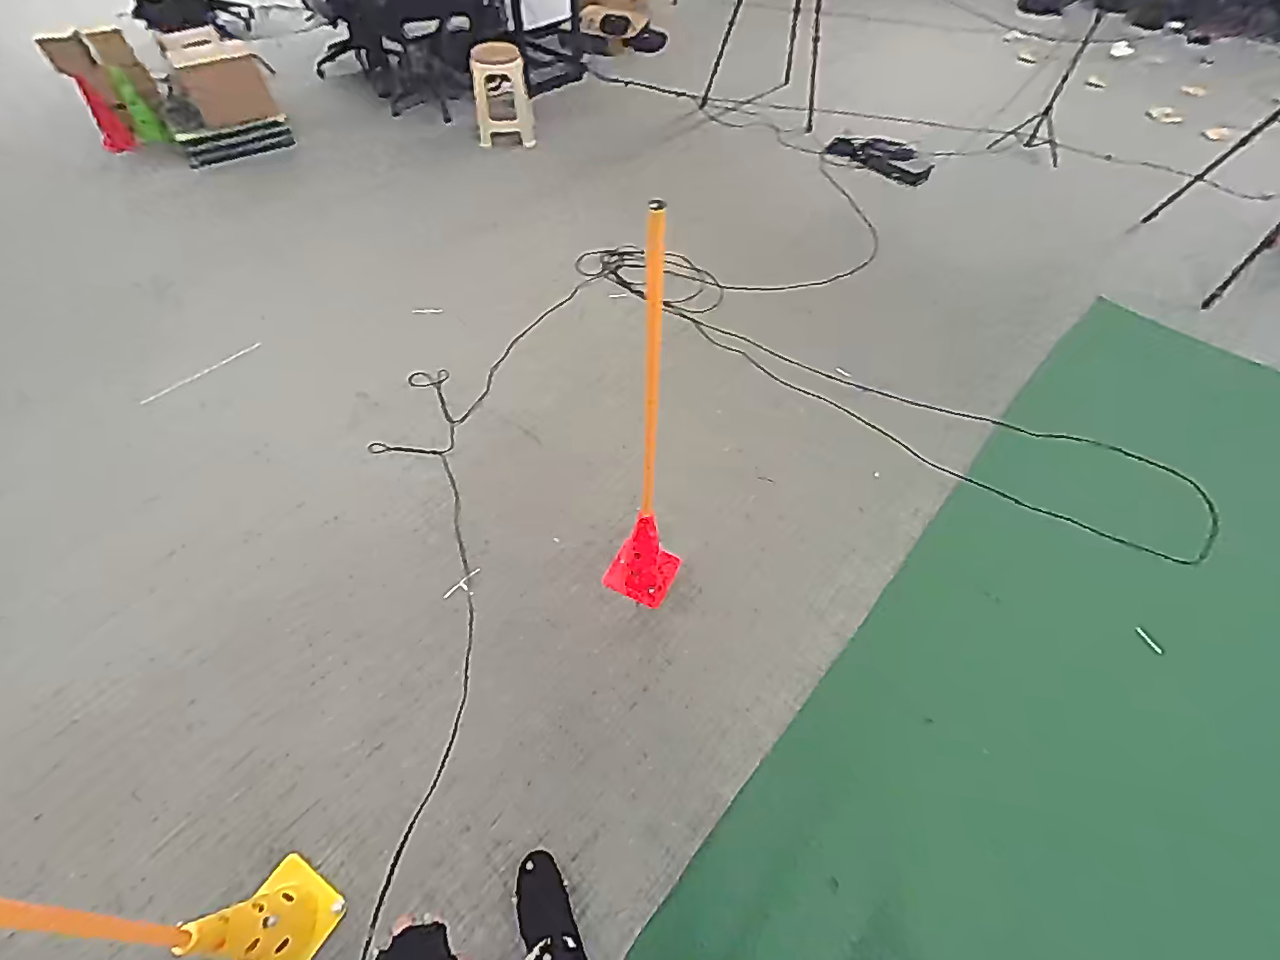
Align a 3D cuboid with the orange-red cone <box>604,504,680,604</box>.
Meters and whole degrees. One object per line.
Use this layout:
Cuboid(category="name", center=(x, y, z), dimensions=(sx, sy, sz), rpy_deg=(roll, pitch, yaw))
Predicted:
Cuboid(category="orange-red cone", center=(0.015, 0.180, 1.595), dimensions=(0.198, 0.360, 0.199), rpy_deg=(24, 56, 14))
